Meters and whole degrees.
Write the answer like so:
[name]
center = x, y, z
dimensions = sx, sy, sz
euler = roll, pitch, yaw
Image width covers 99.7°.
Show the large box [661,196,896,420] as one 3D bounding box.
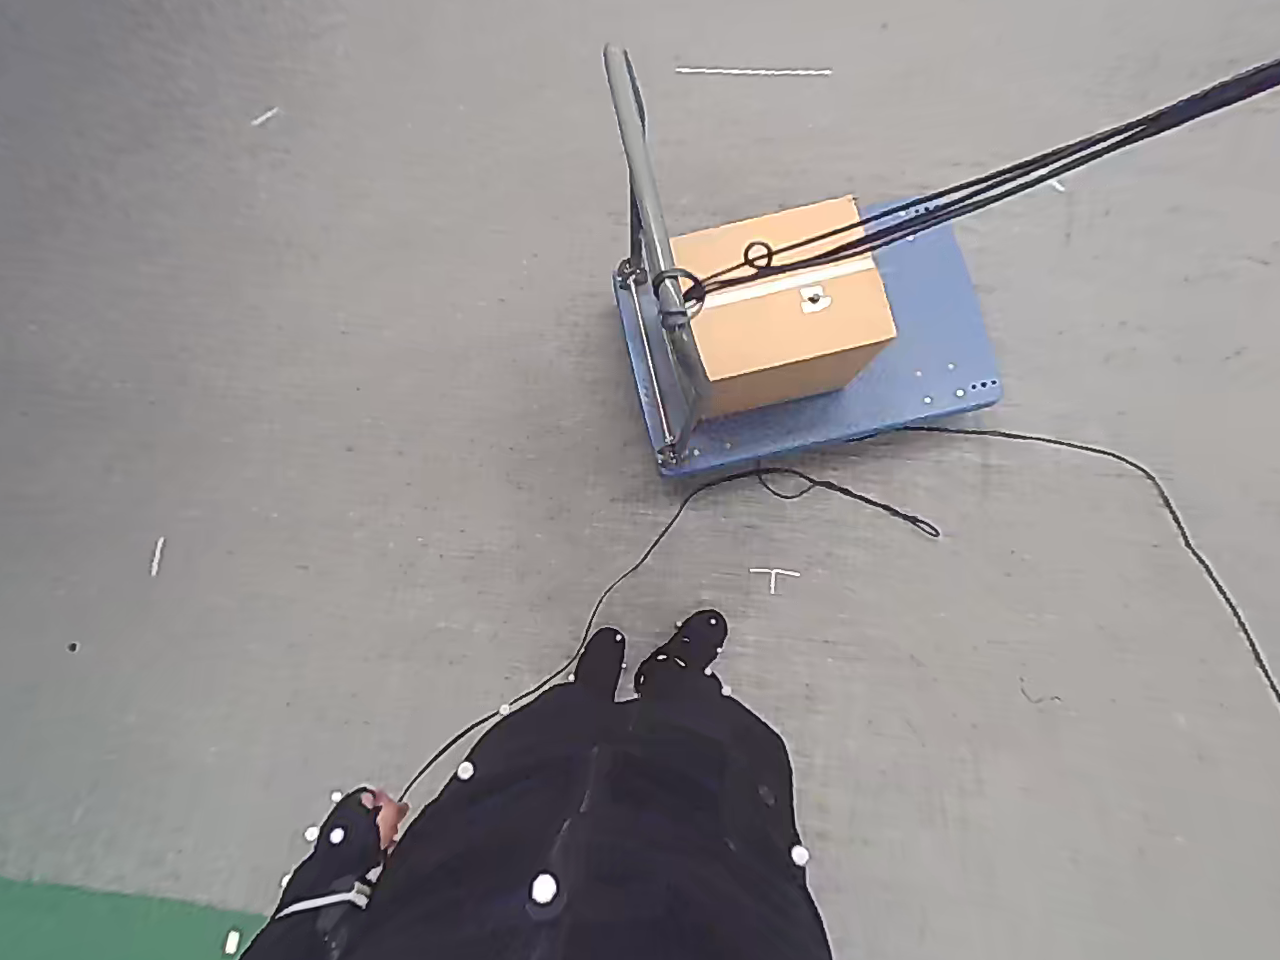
[large box]
center = 0.275, -0.359, 1.214
dimensions = 0.408, 0.320, 0.320
euler = -13, 81, 0
